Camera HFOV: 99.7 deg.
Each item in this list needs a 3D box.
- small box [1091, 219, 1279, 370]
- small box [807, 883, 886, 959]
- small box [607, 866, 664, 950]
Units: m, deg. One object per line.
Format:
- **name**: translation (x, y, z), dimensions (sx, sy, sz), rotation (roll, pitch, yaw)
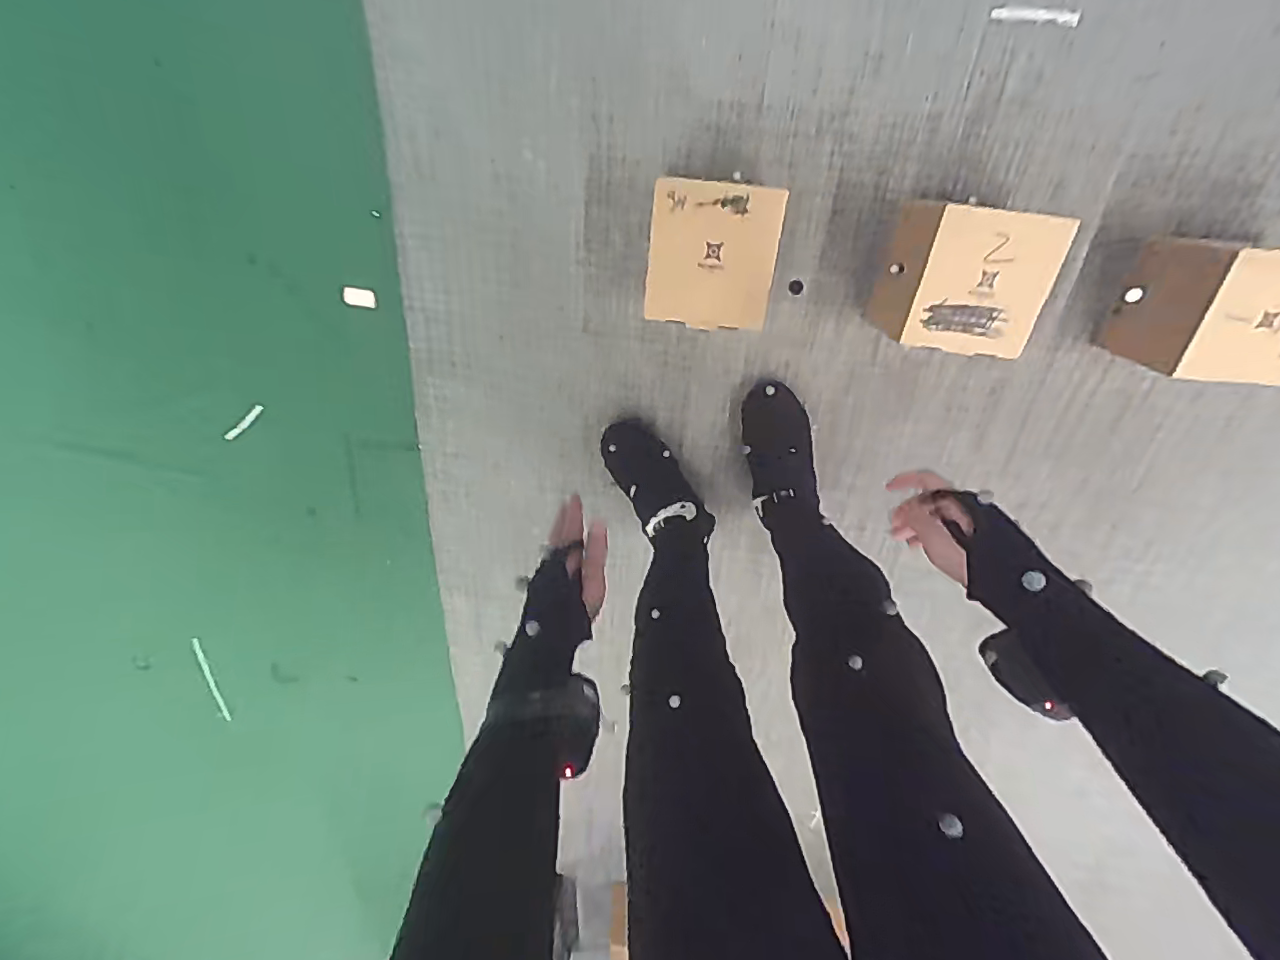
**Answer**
- **small box**: translation (0.797, -0.262, 0.748), dimensions (0.179, 0.176, 0.168), rotation (5, 120, 2)
- **small box**: translation (0.654, 1.426, 1.732), dimensions (0.179, 0.176, 0.168), rotation (4, 120, 2)
- **small box**: translation (-0.012, 1.385, 1.753), dimensions (0.179, 0.176, 0.168), rotation (2, 120, 3)
